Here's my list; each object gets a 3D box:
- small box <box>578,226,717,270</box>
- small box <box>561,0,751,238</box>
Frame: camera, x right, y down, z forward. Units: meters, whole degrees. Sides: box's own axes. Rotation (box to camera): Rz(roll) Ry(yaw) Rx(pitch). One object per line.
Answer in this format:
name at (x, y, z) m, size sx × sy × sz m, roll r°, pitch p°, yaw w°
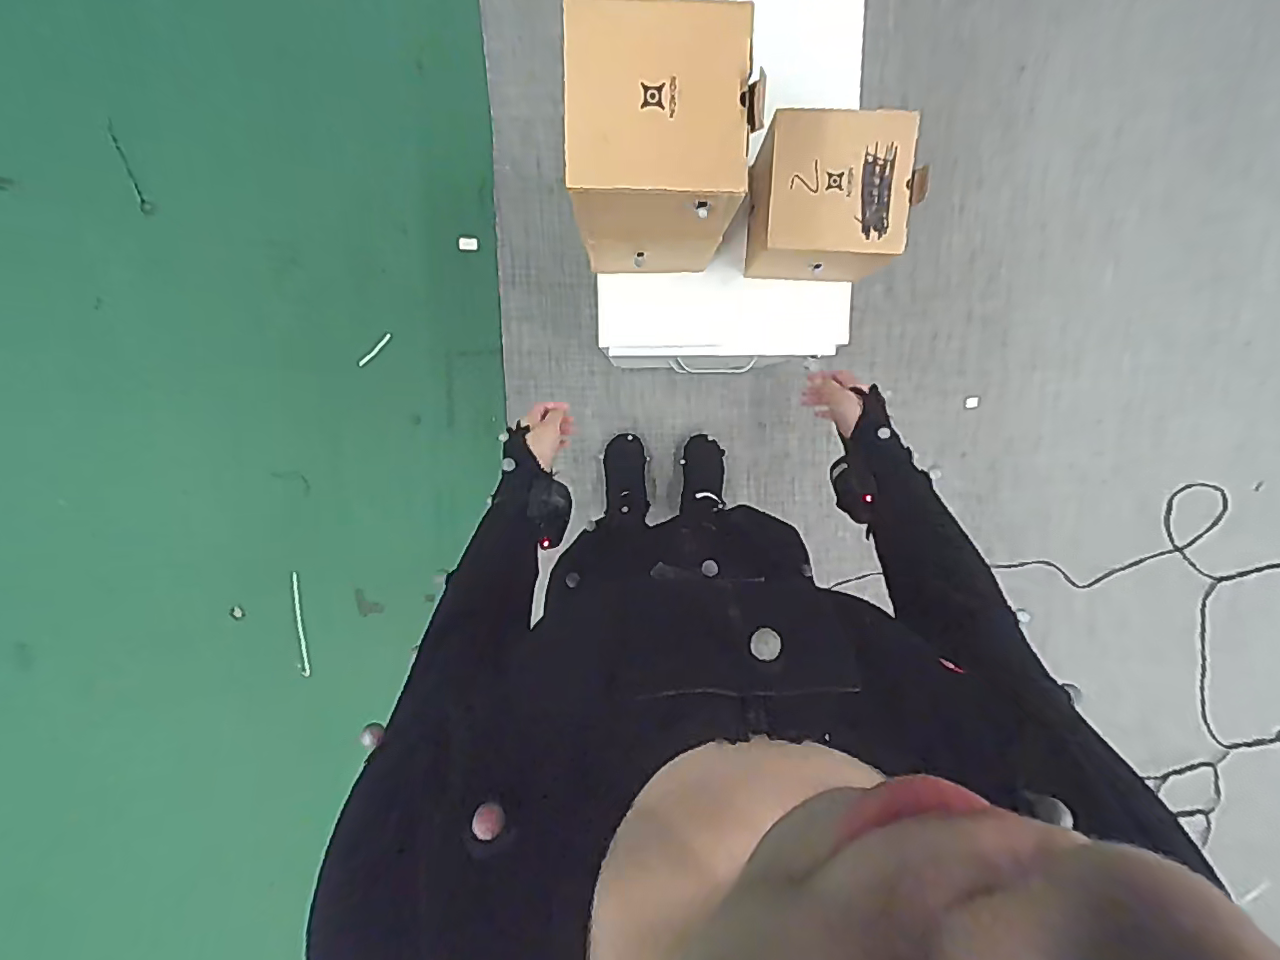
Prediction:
small box at (0.008, -0.392, 0.743) m, size 0.179 × 0.176 × 0.168 m, roll -1°, pitch 98°, yaw -1°
small box at (0.012, -0.371, 0.581) m, size 0.179 × 0.176 × 0.168 m, roll 0°, pitch 98°, yaw -3°
